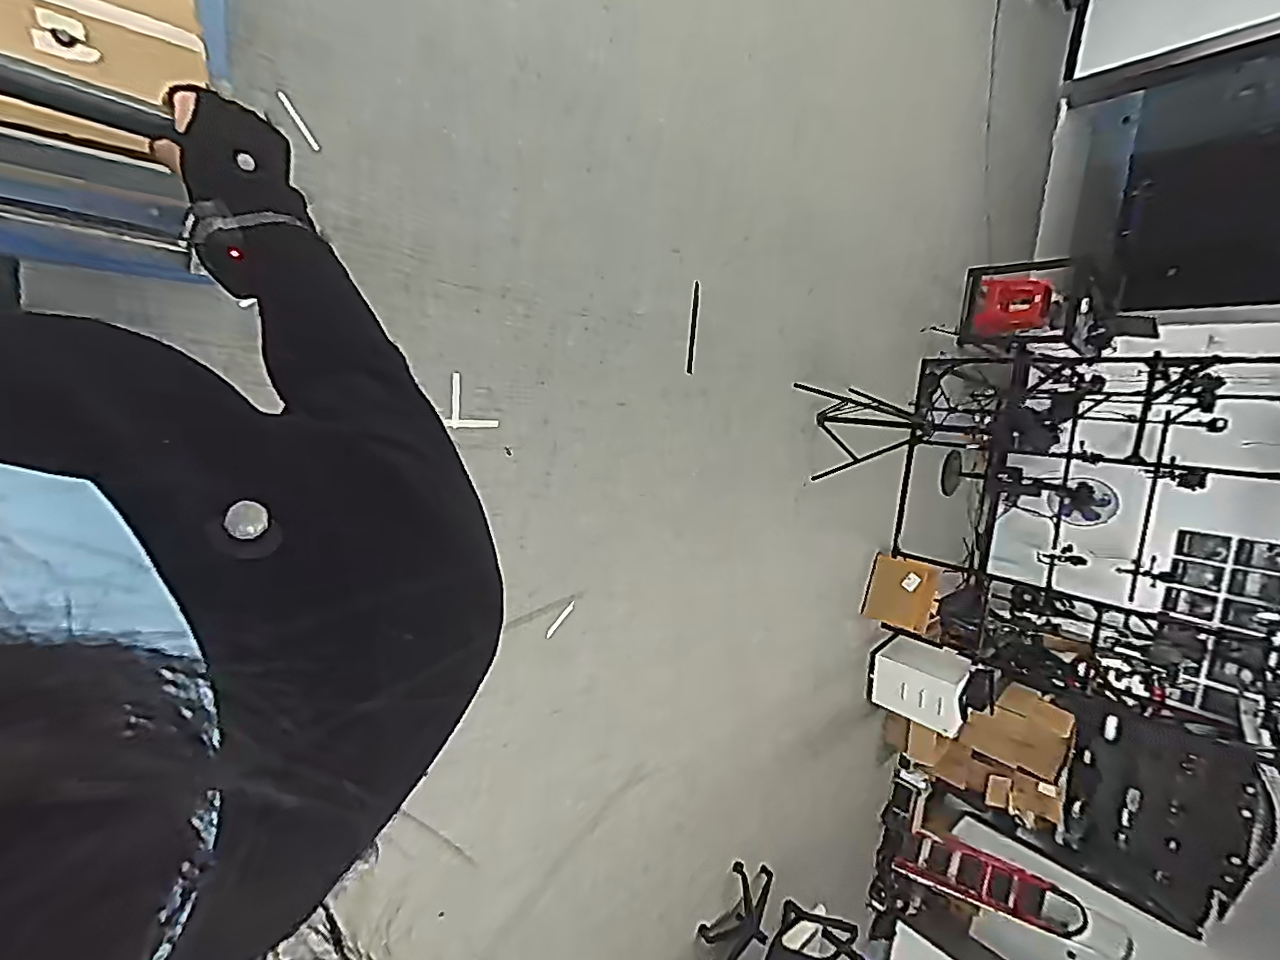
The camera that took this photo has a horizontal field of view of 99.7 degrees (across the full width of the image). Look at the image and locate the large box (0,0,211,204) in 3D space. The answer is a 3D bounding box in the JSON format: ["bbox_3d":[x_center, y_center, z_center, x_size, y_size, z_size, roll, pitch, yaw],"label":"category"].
[{"bbox_3d":[-0.867,-0.604,0.722,0.408,0.320,0.320,-9,106,-44],"label":"large box"}]
